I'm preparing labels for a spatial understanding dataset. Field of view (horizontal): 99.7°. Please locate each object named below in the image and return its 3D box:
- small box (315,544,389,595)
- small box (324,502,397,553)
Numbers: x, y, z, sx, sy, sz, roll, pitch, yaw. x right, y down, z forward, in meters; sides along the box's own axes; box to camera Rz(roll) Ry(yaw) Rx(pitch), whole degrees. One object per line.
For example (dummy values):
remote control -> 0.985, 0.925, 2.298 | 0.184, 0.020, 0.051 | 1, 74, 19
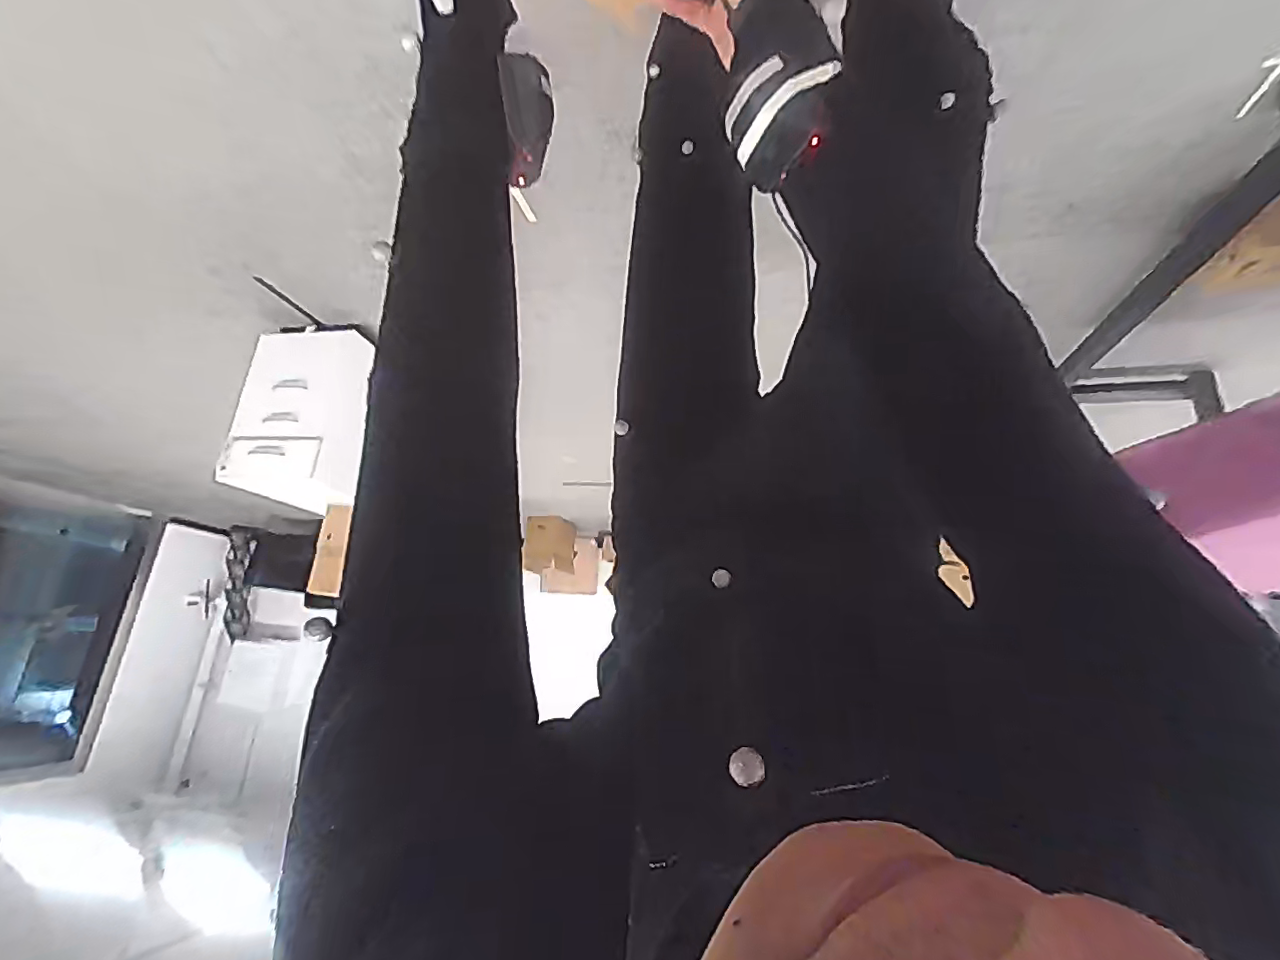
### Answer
small box -> -1.097, 0.344, 2.074 | 0.168, 0.176, 0.179 | 2, 164, 13
small box -> -1.089, 0.186, 2.121 | 0.179, 0.176, 0.168 | 1, 163, 14
